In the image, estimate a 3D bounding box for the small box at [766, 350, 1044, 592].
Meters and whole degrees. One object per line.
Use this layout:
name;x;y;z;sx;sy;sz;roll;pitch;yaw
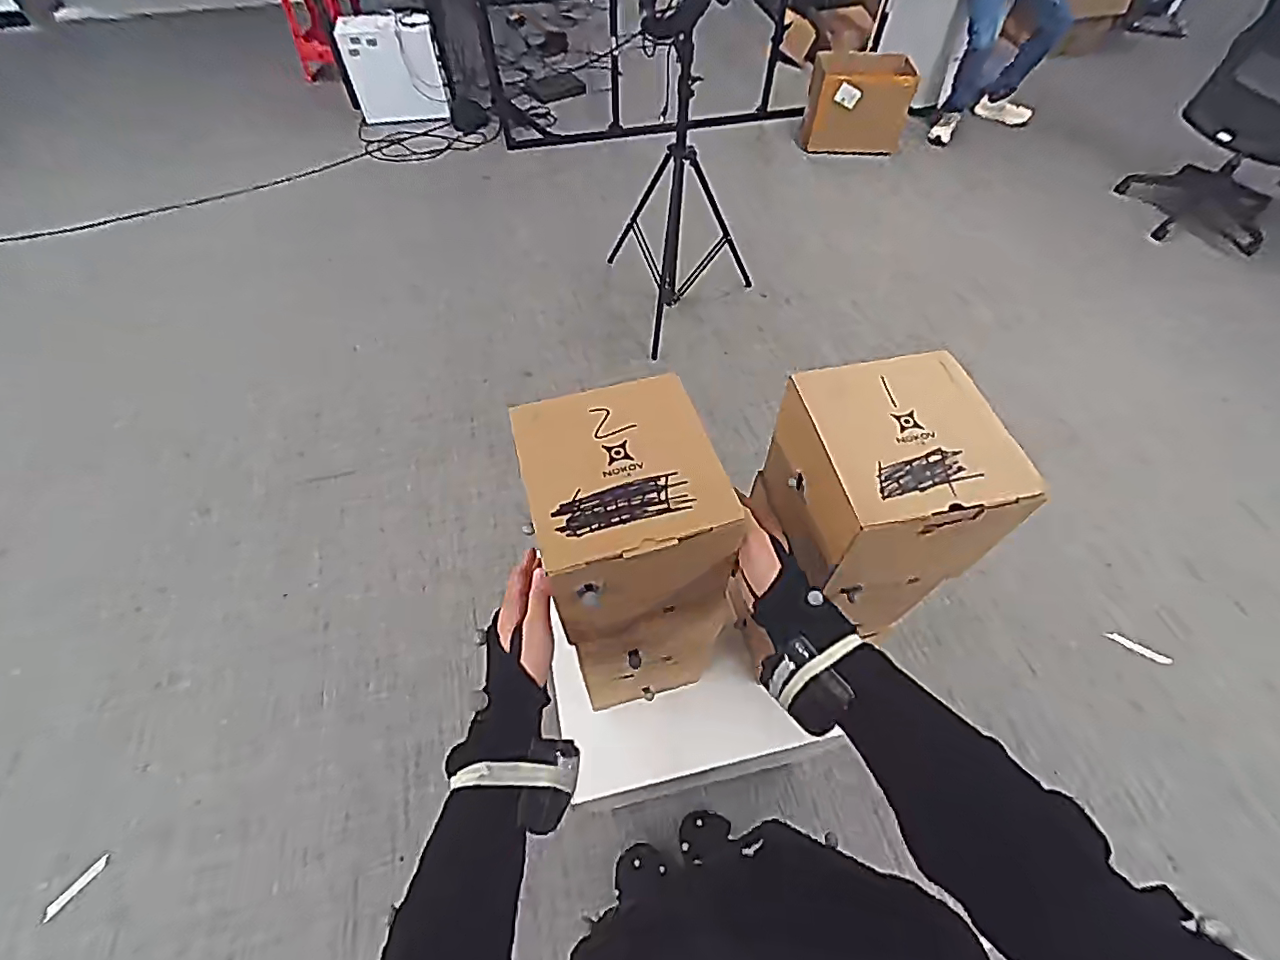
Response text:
small box;0.240;0.000;0.546;0.168;0.176;0.179;-9;56;-4

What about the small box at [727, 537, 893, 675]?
small box;0.241;0.183;0.817;0.168;0.176;0.179;-10;59;-7

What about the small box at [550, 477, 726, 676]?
small box;-0.007;0.125;0.659;0.168;0.176;0.179;-12;57;-8

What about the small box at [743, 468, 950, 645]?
small box;0.240;0.088;0.685;0.168;0.176;0.179;-11;59;-5

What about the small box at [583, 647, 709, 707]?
small box;-0.011;0.212;0.797;0.168;0.176;0.179;-13;58;-9
